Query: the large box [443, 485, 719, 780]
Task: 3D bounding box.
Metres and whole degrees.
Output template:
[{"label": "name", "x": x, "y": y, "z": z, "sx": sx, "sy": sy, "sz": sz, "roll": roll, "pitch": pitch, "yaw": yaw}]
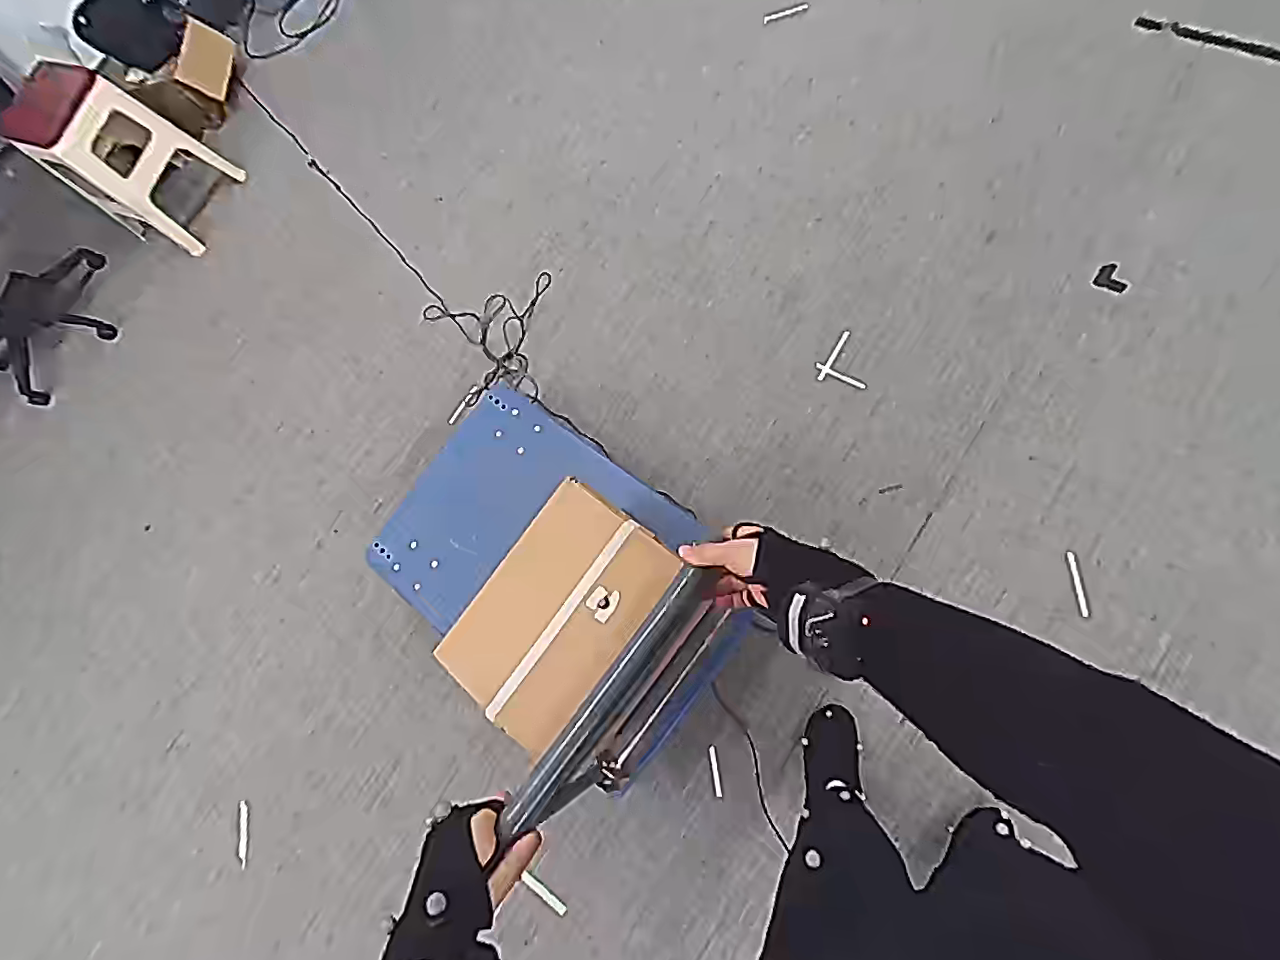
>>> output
[{"label": "large box", "x": -0.092, "y": 0.287, "z": 1.074, "sx": 0.320, "sy": 0.320, "sz": 0.408, "roll": 36, "pitch": 86, "yaw": 19}]
